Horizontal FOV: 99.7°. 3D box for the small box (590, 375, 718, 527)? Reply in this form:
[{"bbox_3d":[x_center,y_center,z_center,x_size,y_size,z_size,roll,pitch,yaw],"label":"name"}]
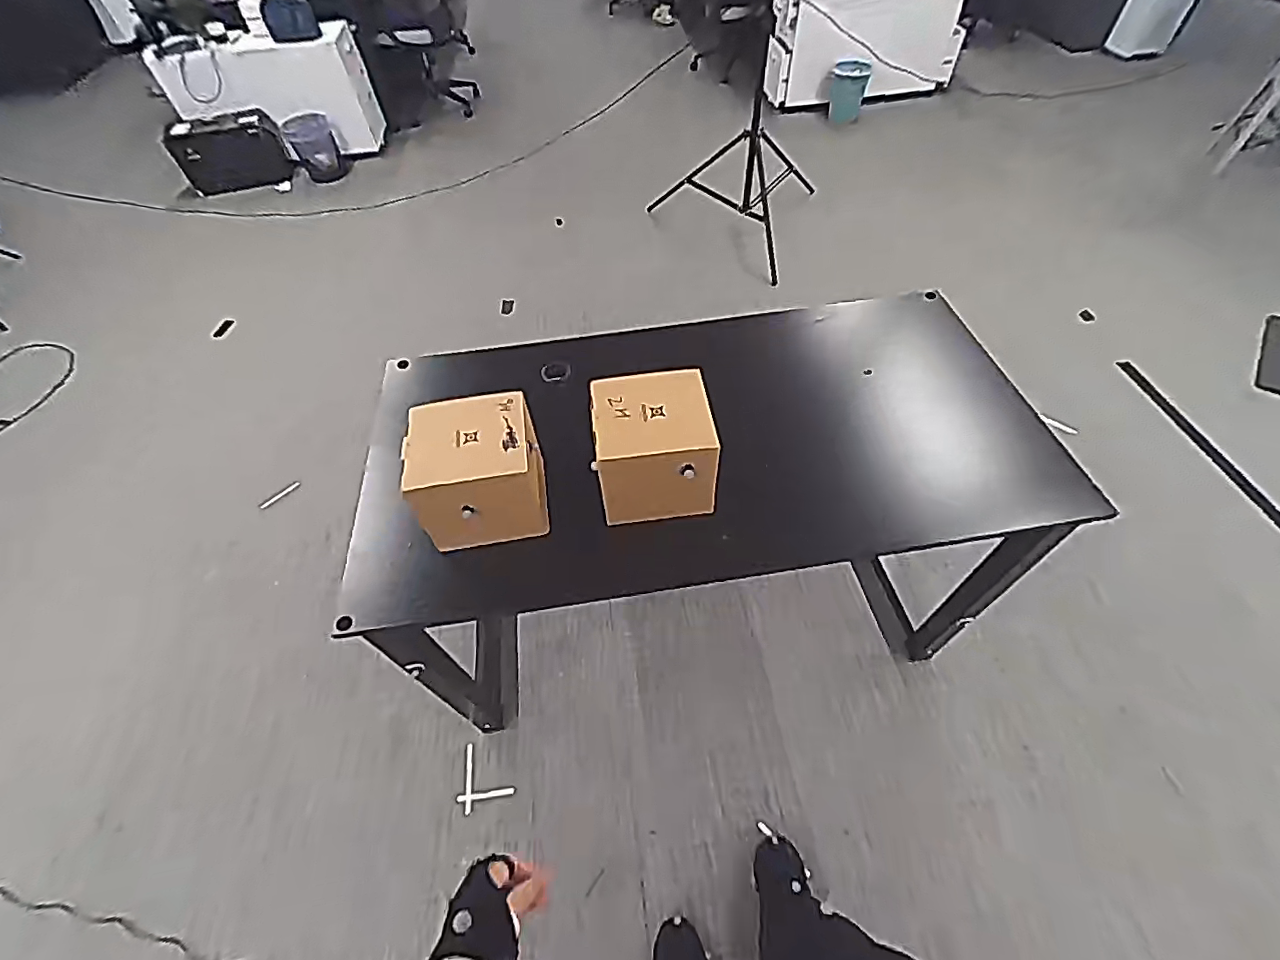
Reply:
[{"bbox_3d":[0.019,-0.043,0.864,0.179,0.176,0.168,-7,52,-1],"label":"small box"}]

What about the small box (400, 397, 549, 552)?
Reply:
[{"bbox_3d":[-0.251,-0.003,0.852,0.179,0.176,0.168,-10,53,-4],"label":"small box"}]
